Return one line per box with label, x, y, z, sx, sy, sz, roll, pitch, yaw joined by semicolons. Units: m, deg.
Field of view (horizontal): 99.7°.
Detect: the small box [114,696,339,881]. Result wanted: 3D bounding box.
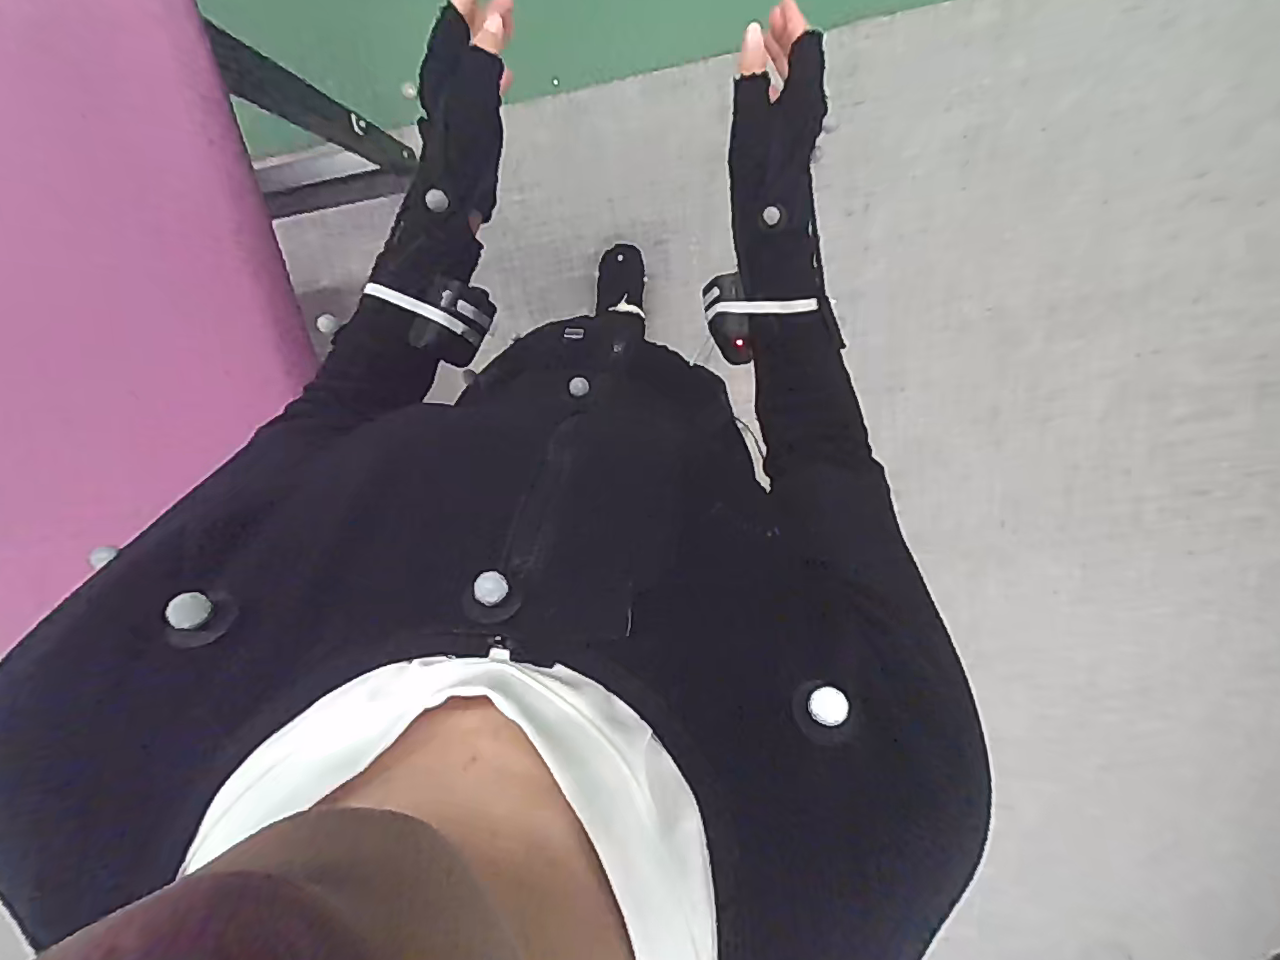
small box;-0.591;0.447;0.800;0.179;0.176;0.168;-8;107;4
